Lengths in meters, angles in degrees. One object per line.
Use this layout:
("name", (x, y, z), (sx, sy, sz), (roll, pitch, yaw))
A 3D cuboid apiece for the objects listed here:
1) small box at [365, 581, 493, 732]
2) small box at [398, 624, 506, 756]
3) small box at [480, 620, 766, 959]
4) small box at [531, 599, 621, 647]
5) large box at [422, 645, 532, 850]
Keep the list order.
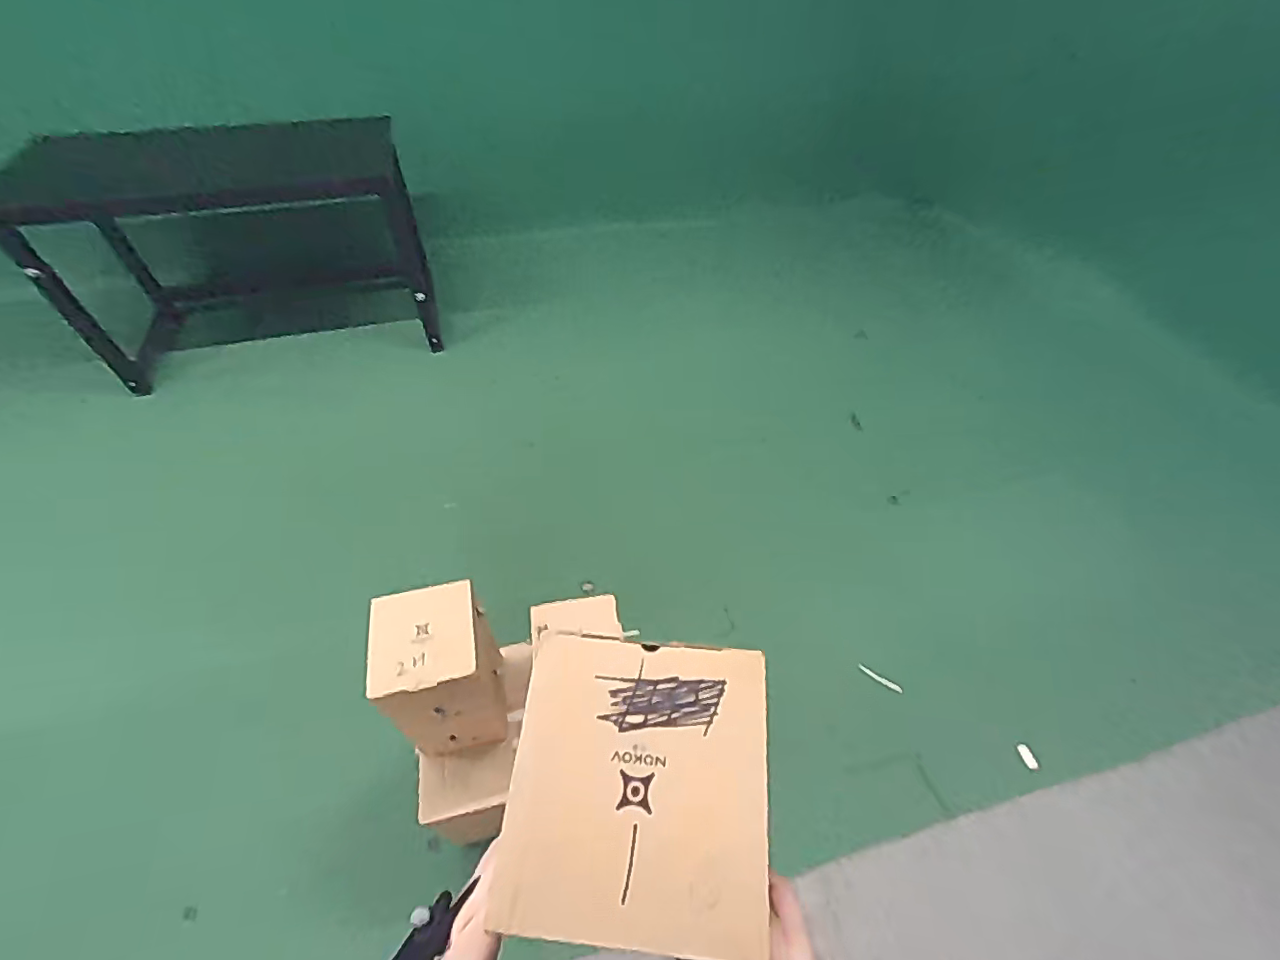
("small box", (-0.355, 0.305, 0.934), (0.168, 0.176, 0.179), (-10, 51, -10))
("small box", (-0.361, 0.411, 1.060), (0.168, 0.176, 0.179), (-9, 50, -10))
("small box", (-0.002, 0.223, 0.412), (0.168, 0.176, 0.179), (4, 59, 4))
("small box", (-0.121, 0.364, 1.102), (0.179, 0.176, 0.168), (-7, 49, -6))
("large box", (-0.251, 0.589, 1.229), (0.408, 0.320, 0.320), (-9, 51, -10))
